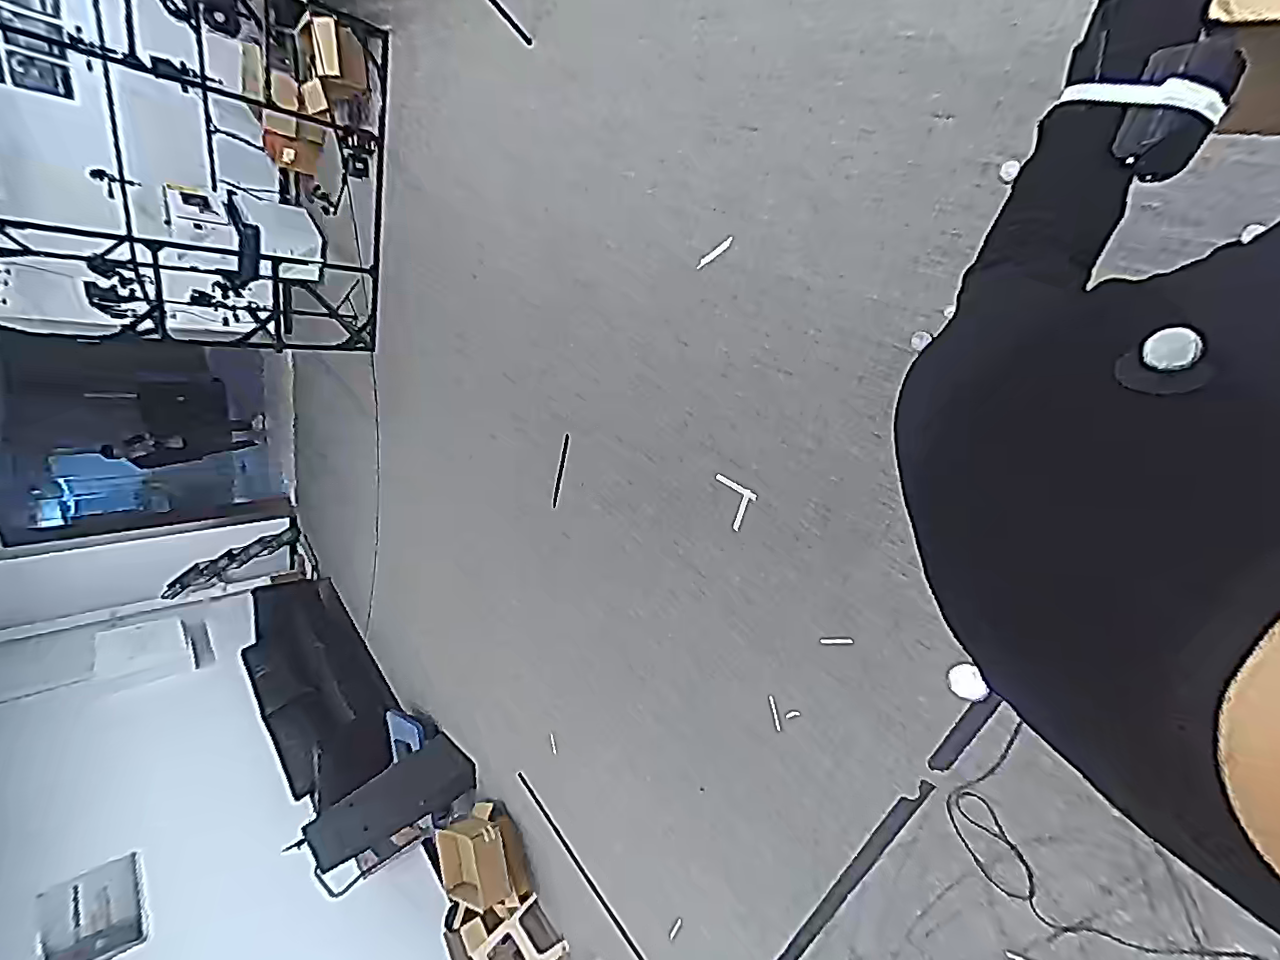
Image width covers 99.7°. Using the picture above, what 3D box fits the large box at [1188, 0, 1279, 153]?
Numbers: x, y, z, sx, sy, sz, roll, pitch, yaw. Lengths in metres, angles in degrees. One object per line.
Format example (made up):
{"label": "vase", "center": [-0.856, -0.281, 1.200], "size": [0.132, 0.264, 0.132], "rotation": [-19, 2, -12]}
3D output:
{"label": "large box", "center": [0.612, -0.366, 0.267], "size": [0.408, 0.320, 0.320], "rotation": [29, 122, 36]}
